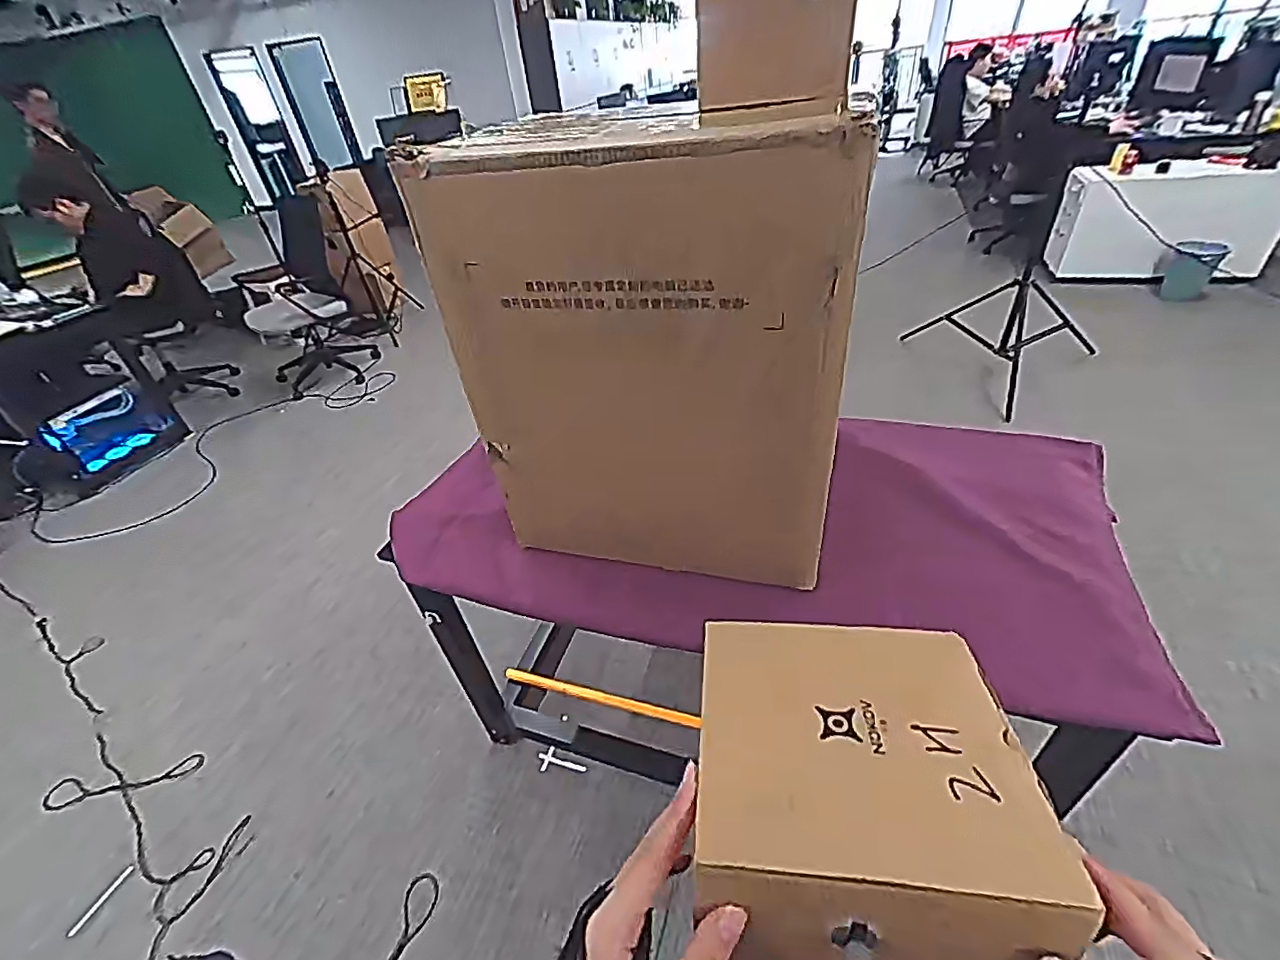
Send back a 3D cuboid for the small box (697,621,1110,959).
[{"bbox_3d":[0.130,0.211,0.342,0.179,0.176,0.168,1,27,9],"label":"small box"}]
